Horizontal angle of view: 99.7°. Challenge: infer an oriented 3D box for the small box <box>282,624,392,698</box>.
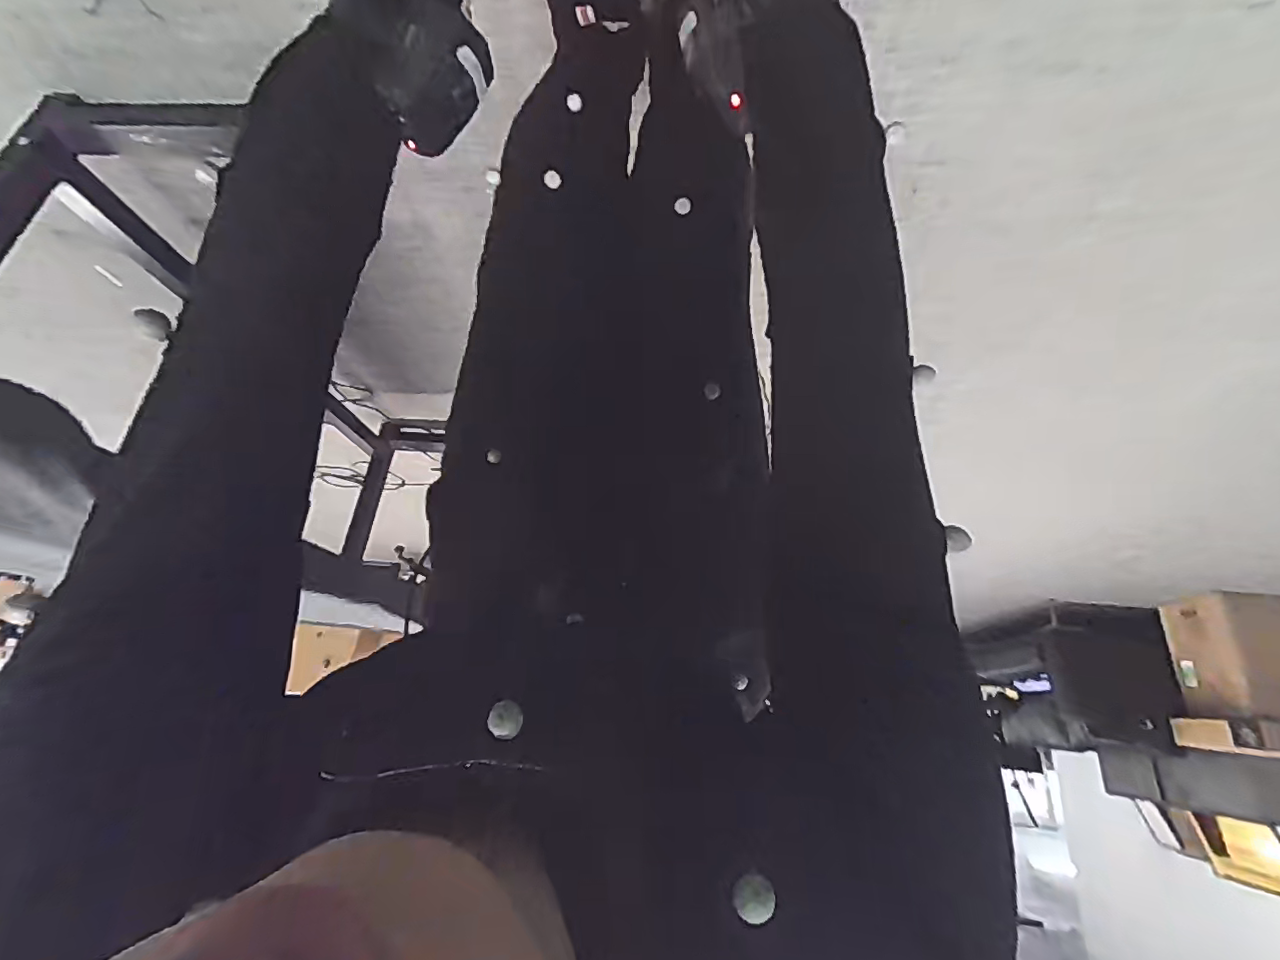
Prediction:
[{"bbox_3d":[-0.784,0.476,1.418,0.168,0.176,0.179,3,158,7],"label":"small box"}]
